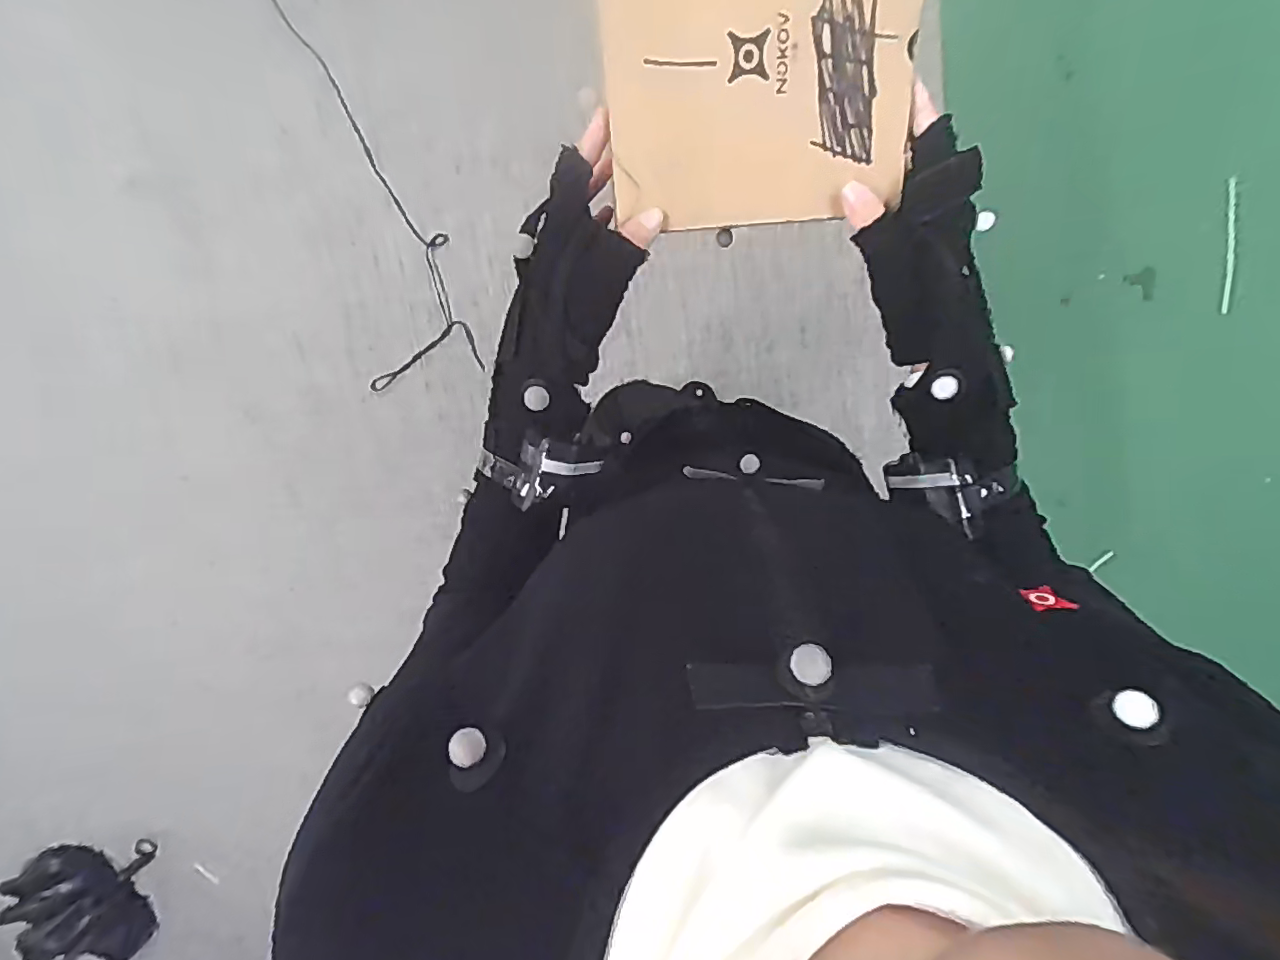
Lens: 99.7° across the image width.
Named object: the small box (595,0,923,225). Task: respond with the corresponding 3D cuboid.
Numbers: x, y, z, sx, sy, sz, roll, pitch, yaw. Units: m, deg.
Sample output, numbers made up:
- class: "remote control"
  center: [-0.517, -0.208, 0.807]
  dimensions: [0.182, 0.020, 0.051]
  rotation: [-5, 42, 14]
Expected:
- class: "small box"
  center: [0.063, -0.272, 0.363]
  dimensions: [0.179, 0.176, 0.168]
  rotation: [-5, 117, 1]
